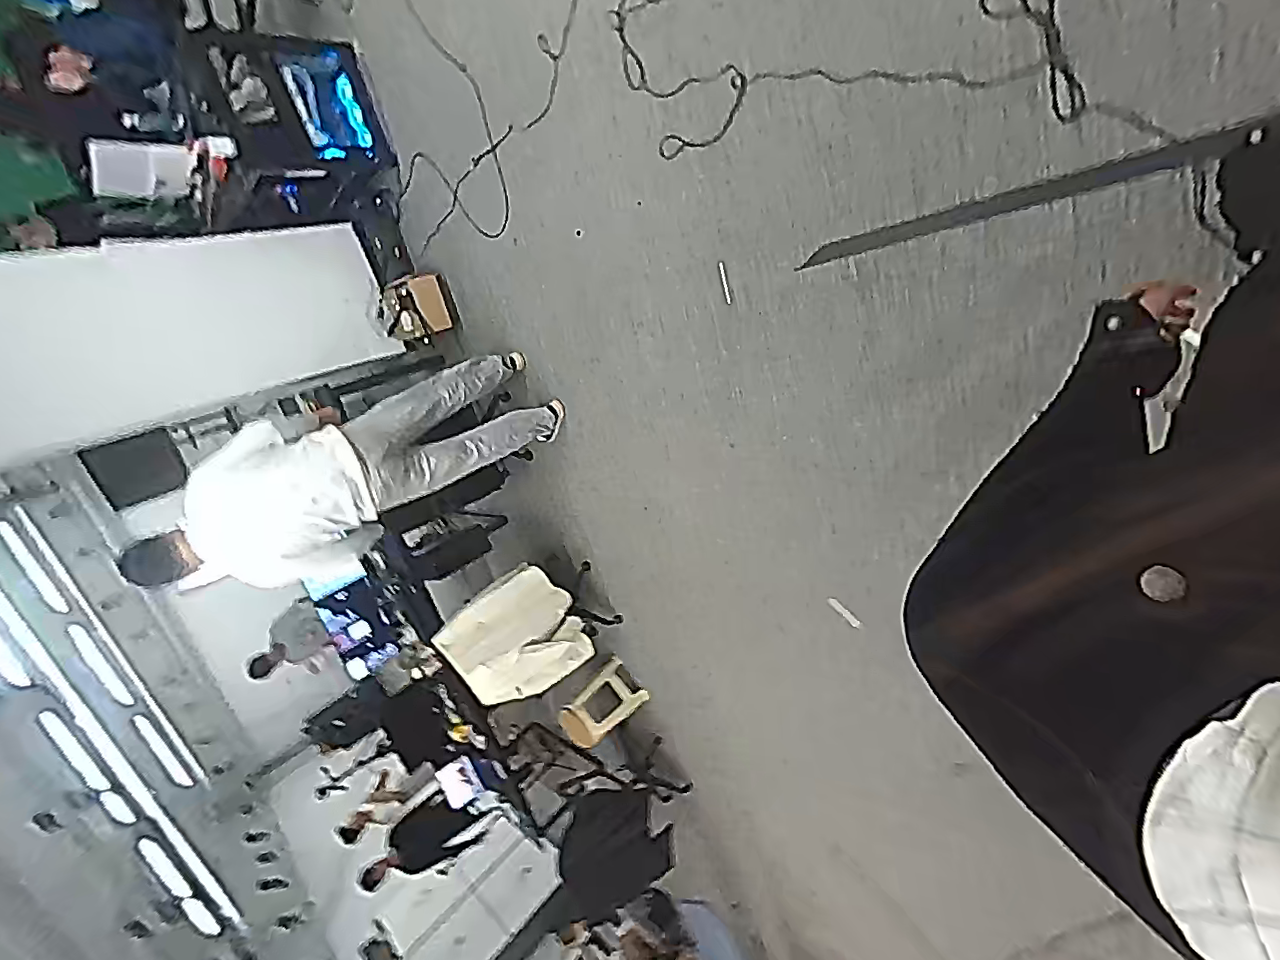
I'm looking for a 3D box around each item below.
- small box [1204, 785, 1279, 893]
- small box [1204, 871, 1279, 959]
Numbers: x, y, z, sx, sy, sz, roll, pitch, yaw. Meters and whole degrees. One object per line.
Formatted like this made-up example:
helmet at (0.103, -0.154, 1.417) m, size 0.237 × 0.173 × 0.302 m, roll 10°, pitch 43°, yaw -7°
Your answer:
small box at (1.023, 0.639, 0.863) m, size 0.168 × 0.176 × 0.179 m, roll -3°, pitch 113°, yaw 46°
small box at (0.915, 0.709, 0.759) m, size 0.168 × 0.176 × 0.179 m, roll -1°, pitch 114°, yaw 47°
